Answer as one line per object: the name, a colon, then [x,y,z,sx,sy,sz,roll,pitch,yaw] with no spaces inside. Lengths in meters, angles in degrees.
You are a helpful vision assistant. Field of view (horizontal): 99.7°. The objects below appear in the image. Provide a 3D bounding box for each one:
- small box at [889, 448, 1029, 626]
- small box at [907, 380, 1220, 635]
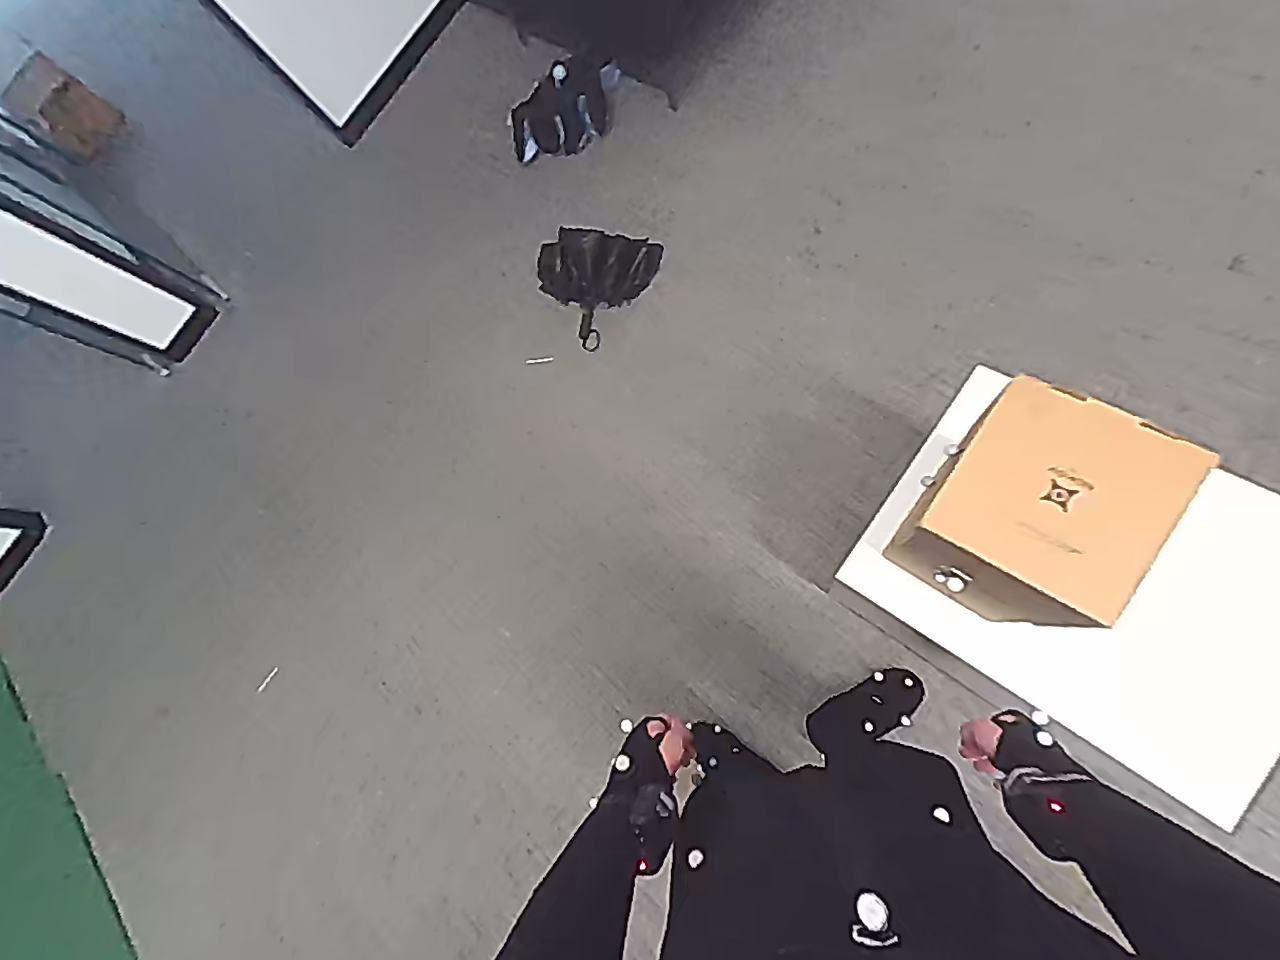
small box: [0.447,0.067,0.700,0.168,0.176,0.179,34,87,22]
small box: [0.396,0.035,0.548,0.168,0.176,0.179,33,89,24]
